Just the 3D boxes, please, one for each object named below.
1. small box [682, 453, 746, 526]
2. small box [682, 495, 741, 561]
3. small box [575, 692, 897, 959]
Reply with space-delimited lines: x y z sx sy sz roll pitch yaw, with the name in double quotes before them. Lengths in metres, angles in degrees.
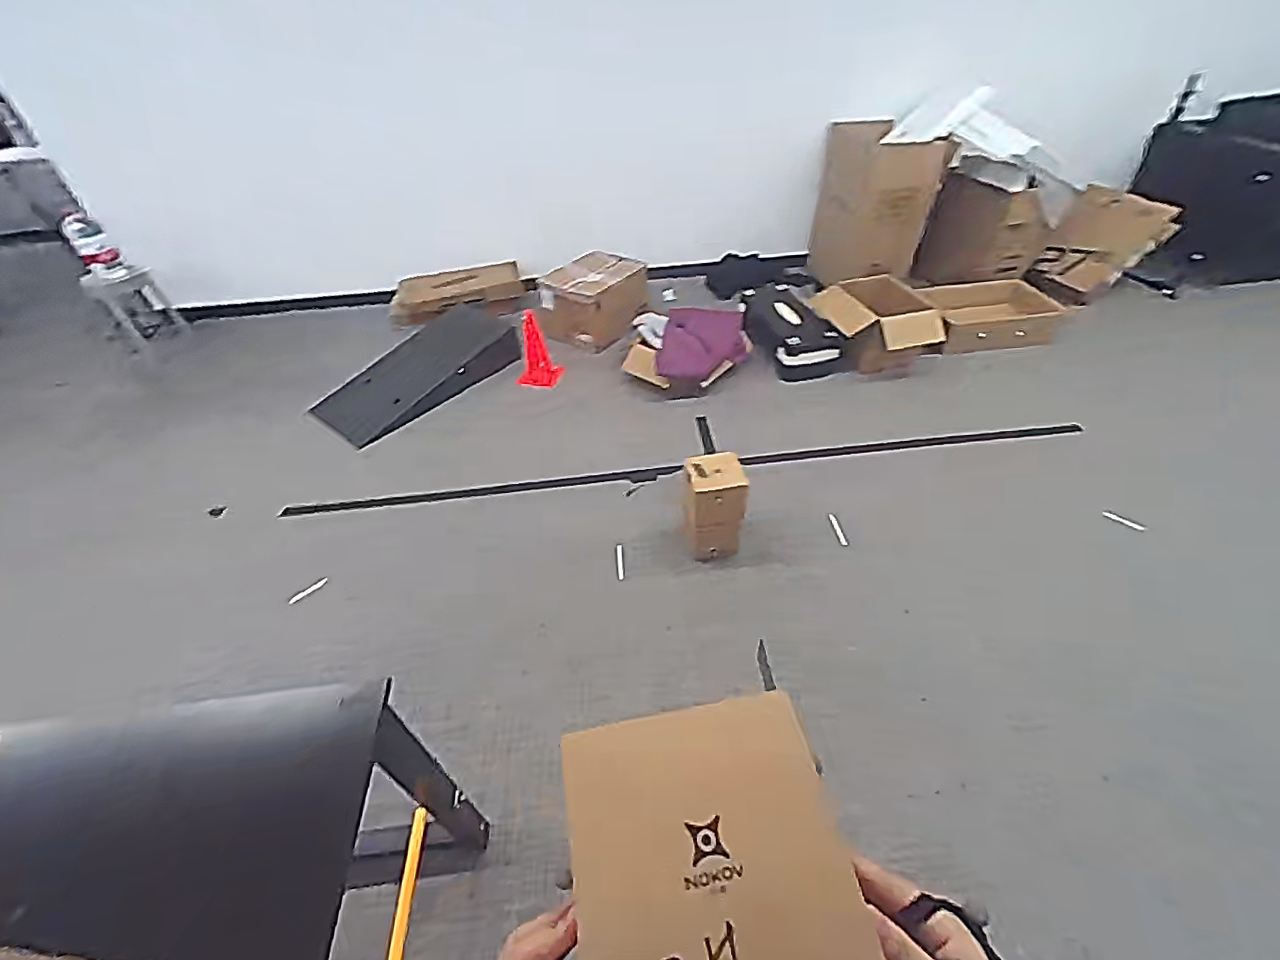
"small box" 0.242 0.035 1.795 0.179 0.176 0.168 -9 44 -6
"small box" 0.245 0.157 1.906 0.168 0.176 0.179 -11 45 -7
"small box" 0.050 0.278 0.381 0.168 0.176 0.179 -9 49 -5
